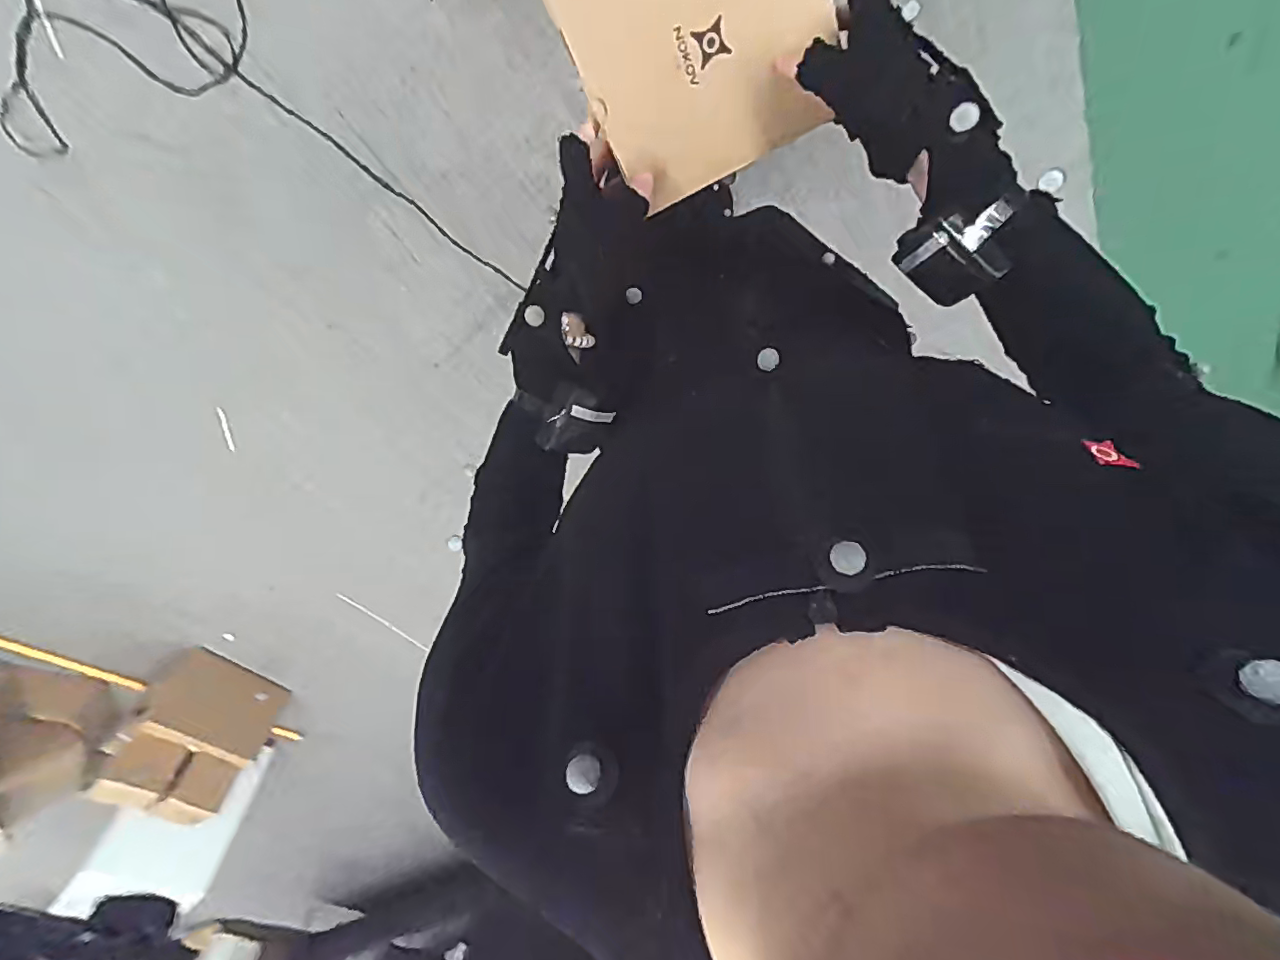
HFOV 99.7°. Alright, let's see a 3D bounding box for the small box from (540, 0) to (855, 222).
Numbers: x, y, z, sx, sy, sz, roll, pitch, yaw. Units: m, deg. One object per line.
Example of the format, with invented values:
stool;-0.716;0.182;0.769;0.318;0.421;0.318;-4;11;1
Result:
small box;0.040;-0.345;0.424;0.179;0.176;0.168;-23;129;16
